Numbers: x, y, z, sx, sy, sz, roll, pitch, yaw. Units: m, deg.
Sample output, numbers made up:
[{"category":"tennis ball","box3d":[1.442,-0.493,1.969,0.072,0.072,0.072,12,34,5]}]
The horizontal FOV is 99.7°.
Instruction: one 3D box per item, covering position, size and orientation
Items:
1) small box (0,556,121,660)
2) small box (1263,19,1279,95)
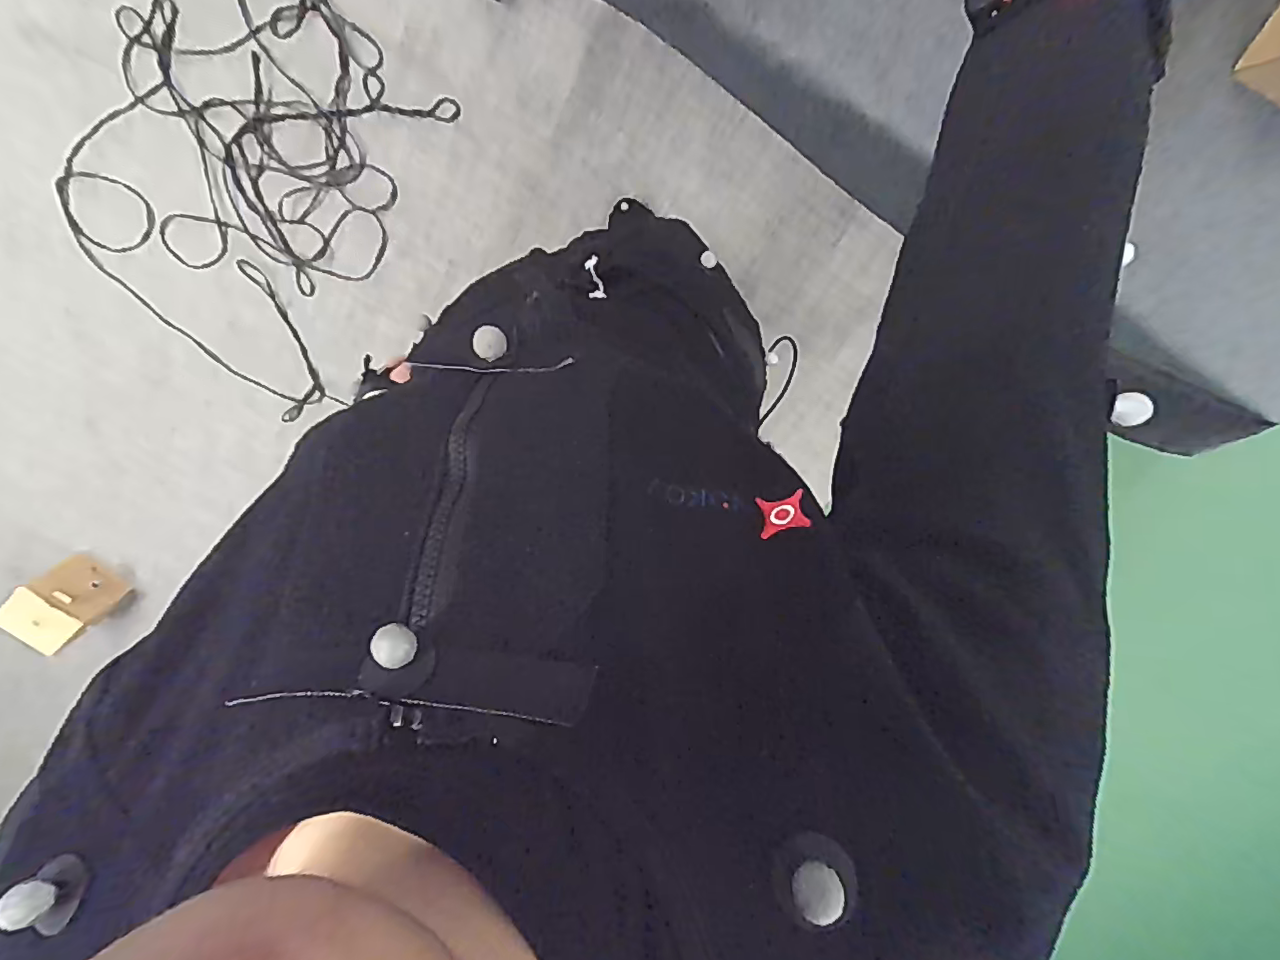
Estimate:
[{"category":"small box","box3d":[-1.589,0.344,1.470,0.179,0.176,0.168,-37,109,14]},{"category":"small box","box3d":[0.612,-0.351,0.368,0.168,0.176,0.179,21,111,-10]}]
